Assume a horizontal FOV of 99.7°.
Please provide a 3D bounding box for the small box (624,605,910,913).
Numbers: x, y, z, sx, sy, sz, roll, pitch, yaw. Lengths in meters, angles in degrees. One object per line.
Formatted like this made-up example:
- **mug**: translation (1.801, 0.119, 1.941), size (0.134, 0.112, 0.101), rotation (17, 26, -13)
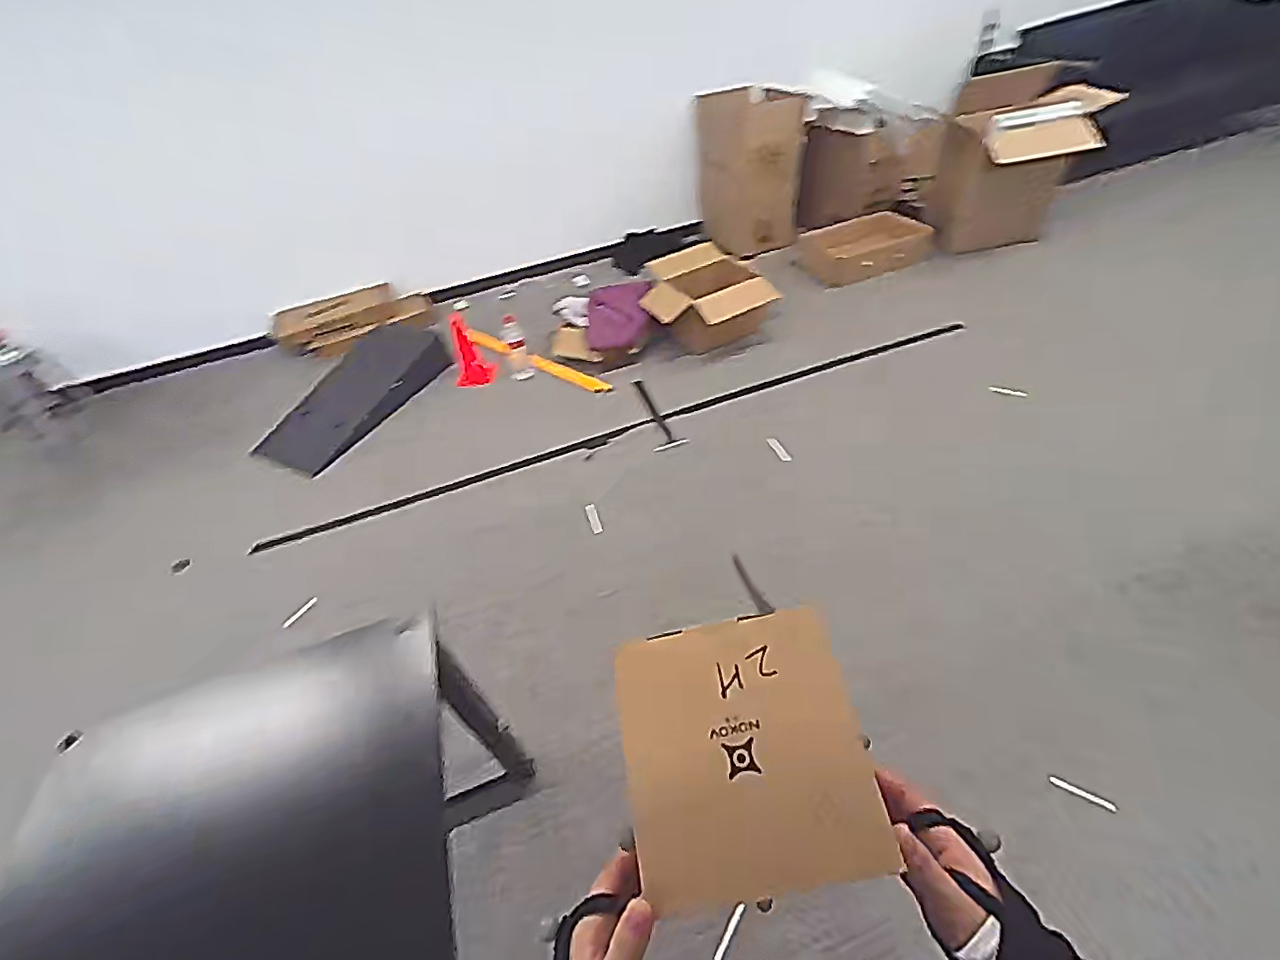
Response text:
- **small box**: translation (0.090, 0.226, 0.449), size (0.168, 0.176, 0.179), rotation (-11, 57, 2)
